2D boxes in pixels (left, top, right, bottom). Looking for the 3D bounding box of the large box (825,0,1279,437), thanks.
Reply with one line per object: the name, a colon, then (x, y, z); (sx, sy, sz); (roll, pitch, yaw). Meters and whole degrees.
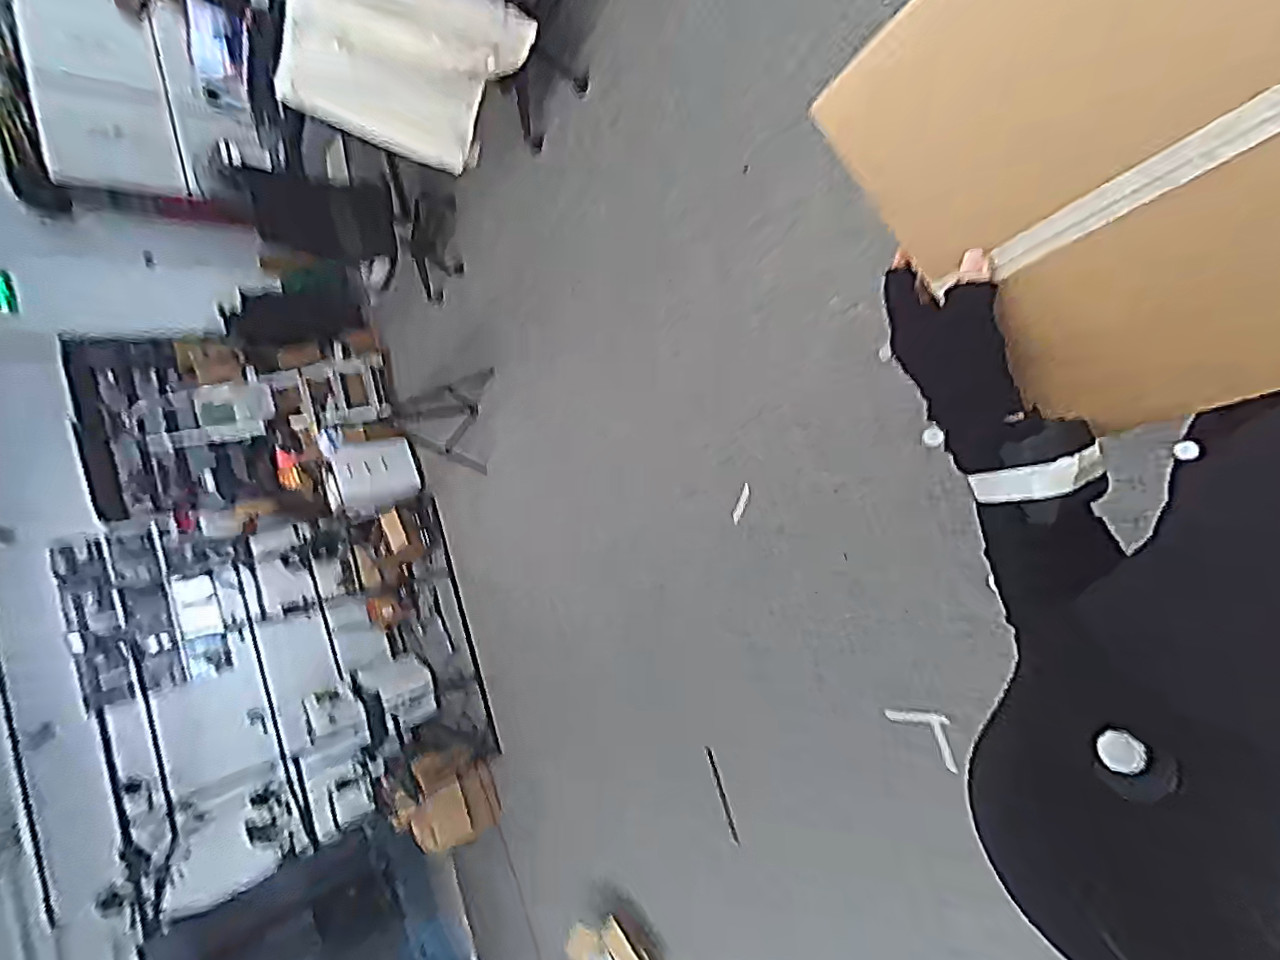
large box: (0.404, -0.289, 0.327); (0.320, 0.320, 0.408); (47, 145, -12)
